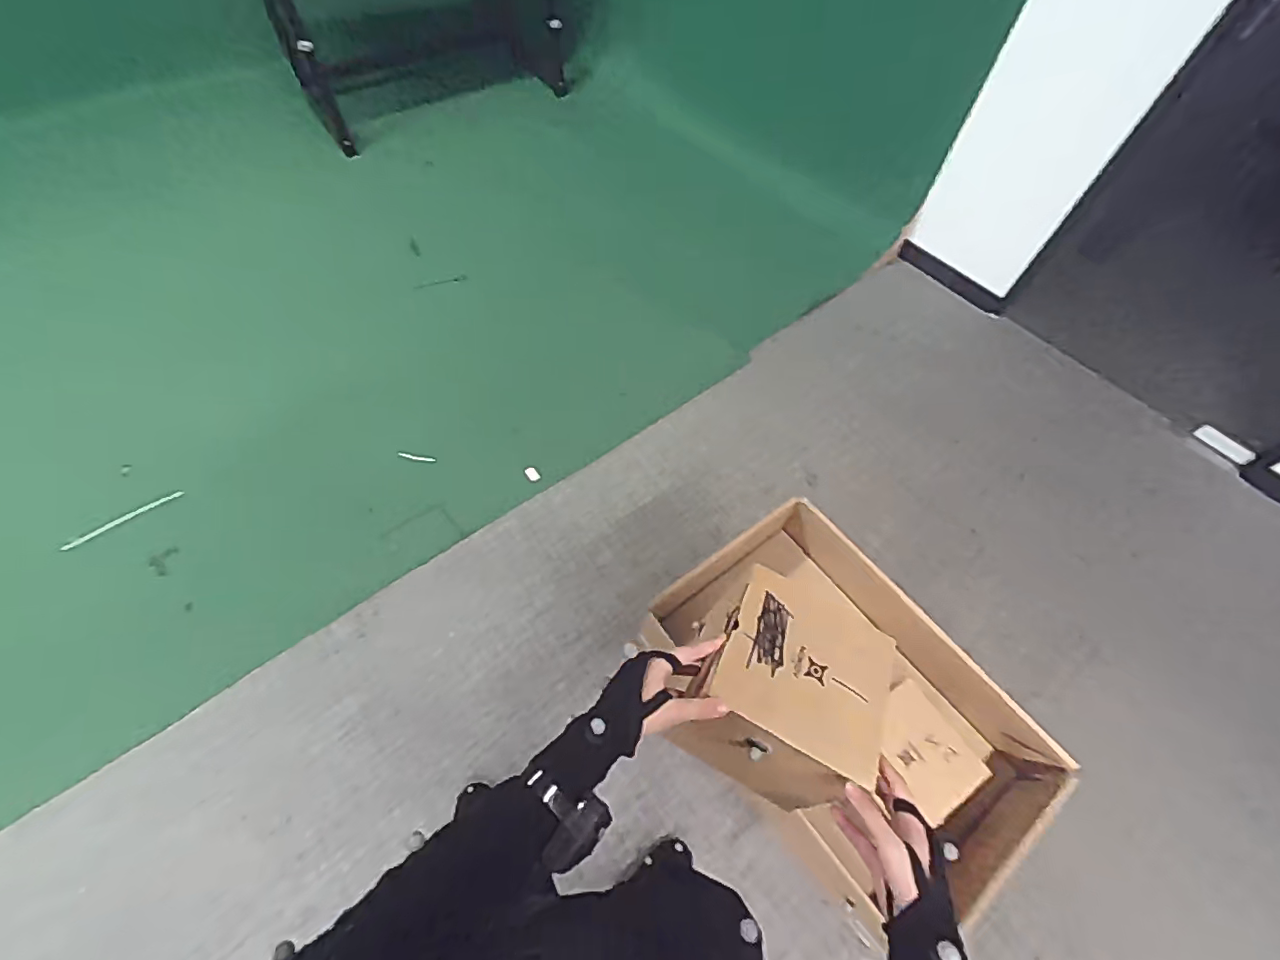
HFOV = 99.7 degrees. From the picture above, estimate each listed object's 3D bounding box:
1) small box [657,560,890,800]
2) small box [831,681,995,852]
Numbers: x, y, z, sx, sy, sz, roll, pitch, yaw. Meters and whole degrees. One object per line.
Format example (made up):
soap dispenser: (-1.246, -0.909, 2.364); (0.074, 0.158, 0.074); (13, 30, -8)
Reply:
small box: (0.139, 0.227, 0.599); (0.179, 0.176, 0.168); (30, 51, 4)
small box: (0.401, 0.454, 0.861); (0.179, 0.176, 0.168); (-28, 64, -17)
